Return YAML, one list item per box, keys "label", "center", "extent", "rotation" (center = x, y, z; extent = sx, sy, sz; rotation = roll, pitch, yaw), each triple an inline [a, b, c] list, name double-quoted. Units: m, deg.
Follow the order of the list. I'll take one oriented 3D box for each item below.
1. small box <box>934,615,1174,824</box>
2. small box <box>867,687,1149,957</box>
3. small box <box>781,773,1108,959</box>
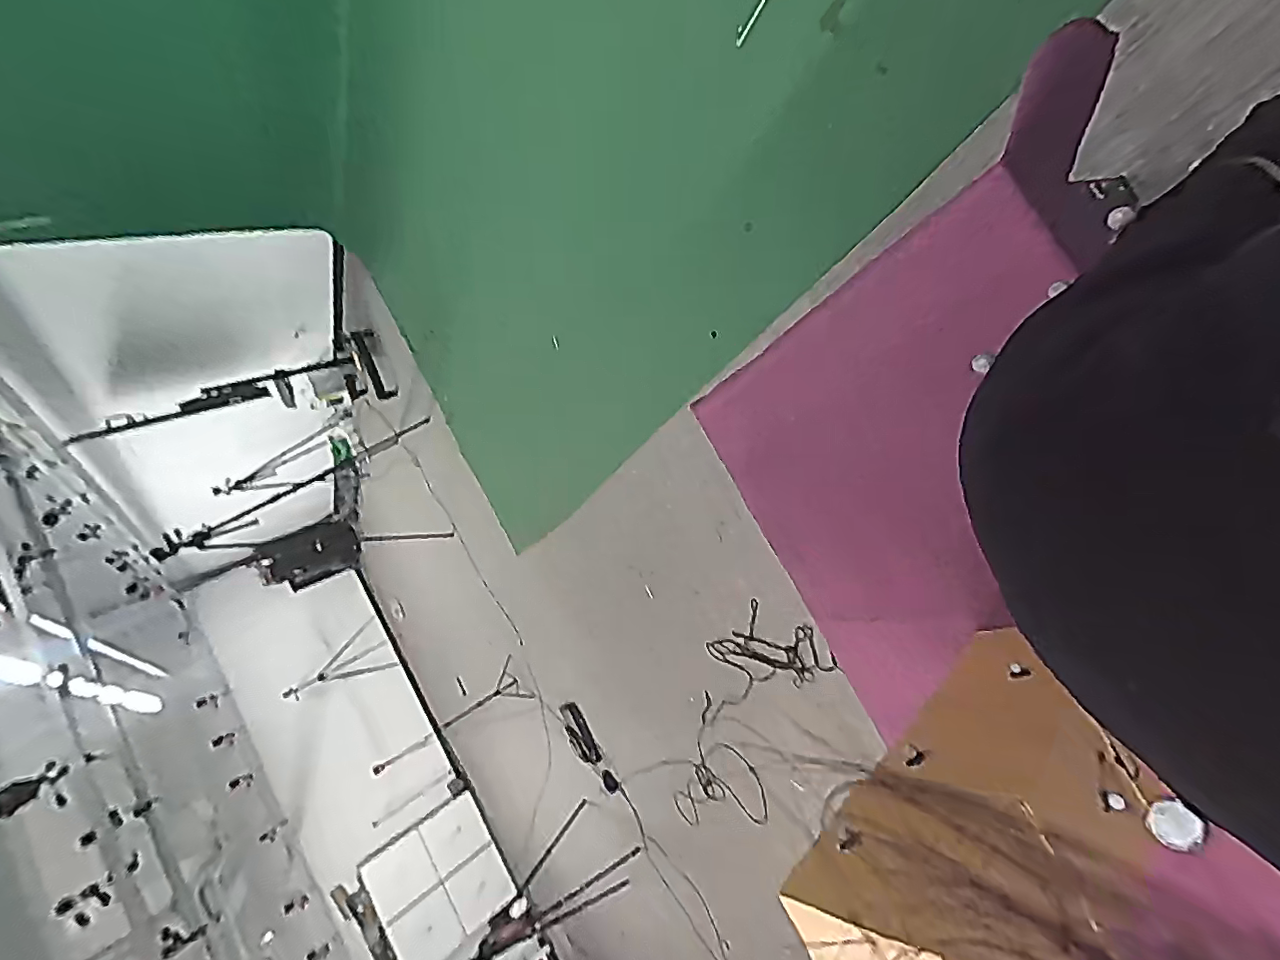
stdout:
- label: "small box"
  center: [0.521, 0.287, 0.681]
  extent: [0.179, 0.176, 0.168]
  rotation: [-35, 81, 54]
- label: "small box"
  center: [0.397, 0.345, 0.590]
  extent: [0.179, 0.176, 0.168]
  rotation: [-36, 81, 53]
- label: "small box"
  center: [0.274, 0.400, 0.498]
  extent: [0.179, 0.176, 0.168]
  rotation: [-36, 81, 53]
